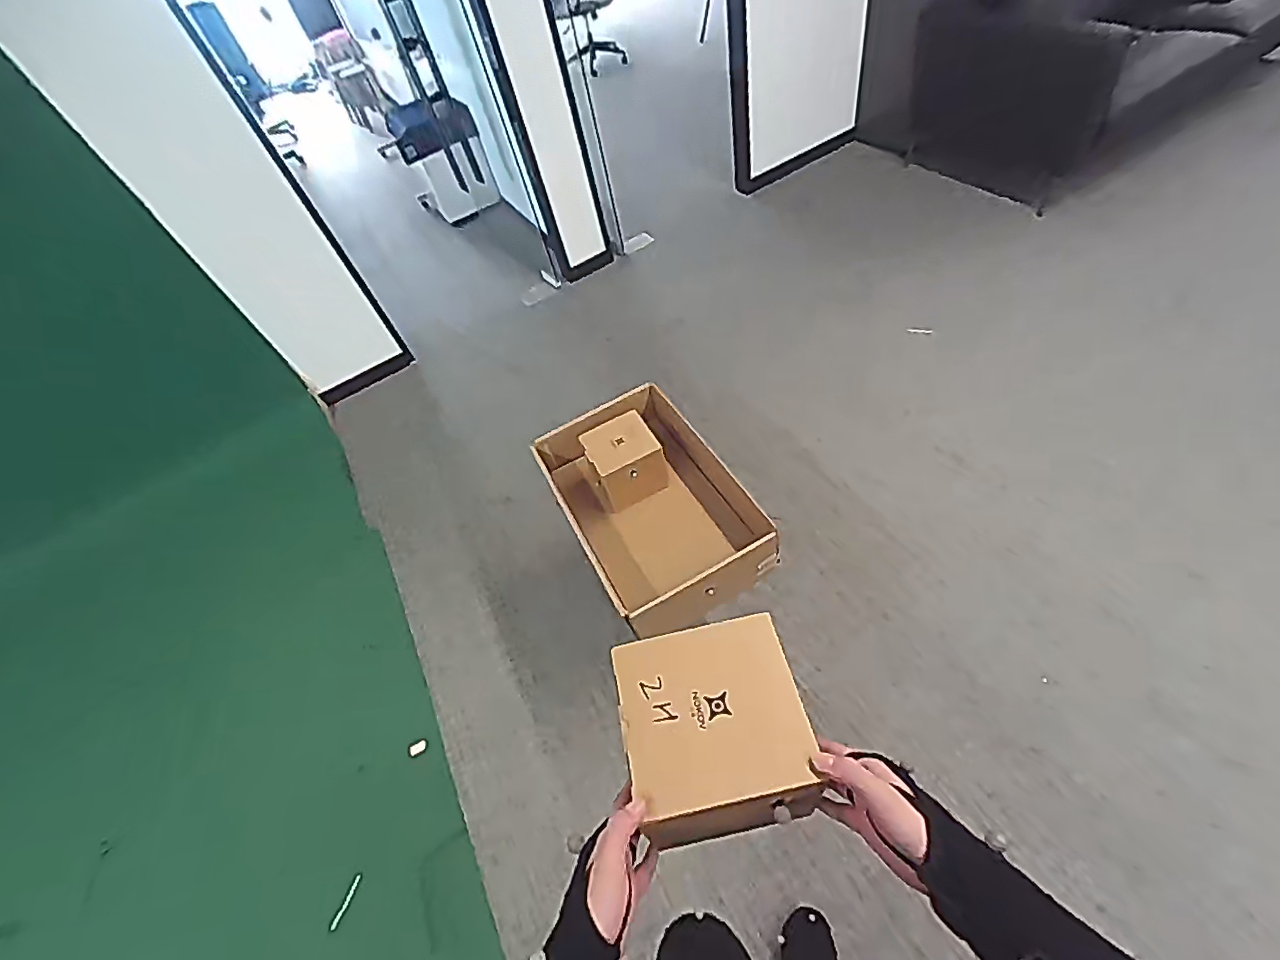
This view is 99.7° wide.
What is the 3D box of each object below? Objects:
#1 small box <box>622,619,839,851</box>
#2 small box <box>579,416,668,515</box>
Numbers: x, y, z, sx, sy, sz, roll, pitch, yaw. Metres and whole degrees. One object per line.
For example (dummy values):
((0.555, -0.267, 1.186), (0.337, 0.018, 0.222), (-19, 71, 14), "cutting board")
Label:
((0.086, 0.275, 0.577), (0.179, 0.176, 0.168), (-12, 48, -1), "small box")
((-0.041, -0.035, 1.460), (0.179, 0.176, 0.168), (-25, 52, -9), "small box")
